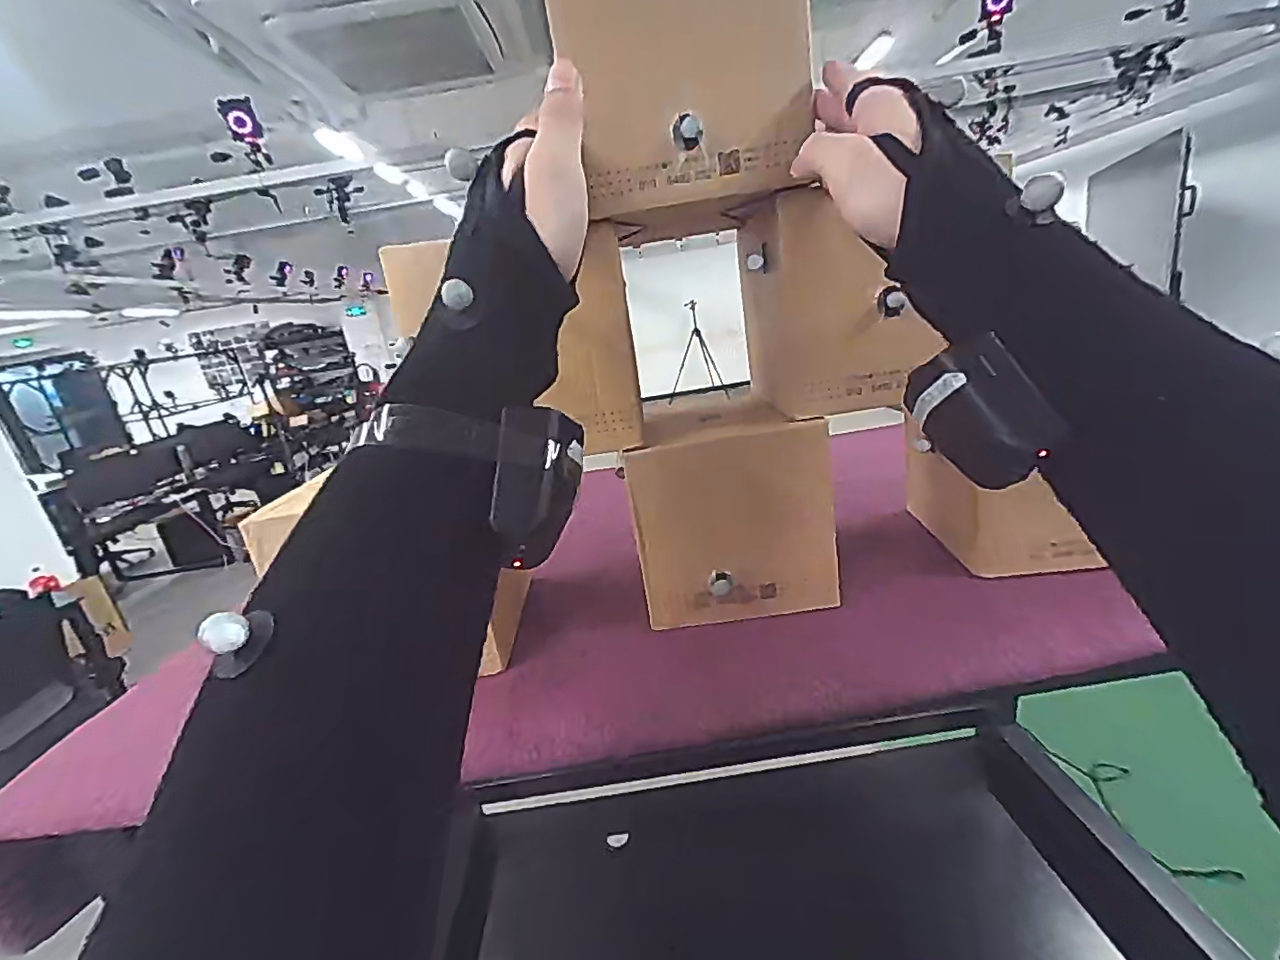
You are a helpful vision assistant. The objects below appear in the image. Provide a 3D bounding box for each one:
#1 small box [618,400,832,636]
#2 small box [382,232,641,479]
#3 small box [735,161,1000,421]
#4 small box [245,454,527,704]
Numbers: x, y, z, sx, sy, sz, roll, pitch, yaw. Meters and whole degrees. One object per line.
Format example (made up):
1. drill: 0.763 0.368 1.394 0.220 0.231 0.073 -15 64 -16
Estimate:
1. small box: 0.077 0.026 0.526 0.168 0.176 0.179 -9 17 3
2. small box: -0.097 -0.104 0.478 0.168 0.176 0.179 -9 15 -4
3. small box: 0.187 -0.153 0.481 0.168 0.176 0.179 -9 16 3
4. small box: -0.210 0.076 0.506 0.168 0.176 0.179 -9 18 -1
